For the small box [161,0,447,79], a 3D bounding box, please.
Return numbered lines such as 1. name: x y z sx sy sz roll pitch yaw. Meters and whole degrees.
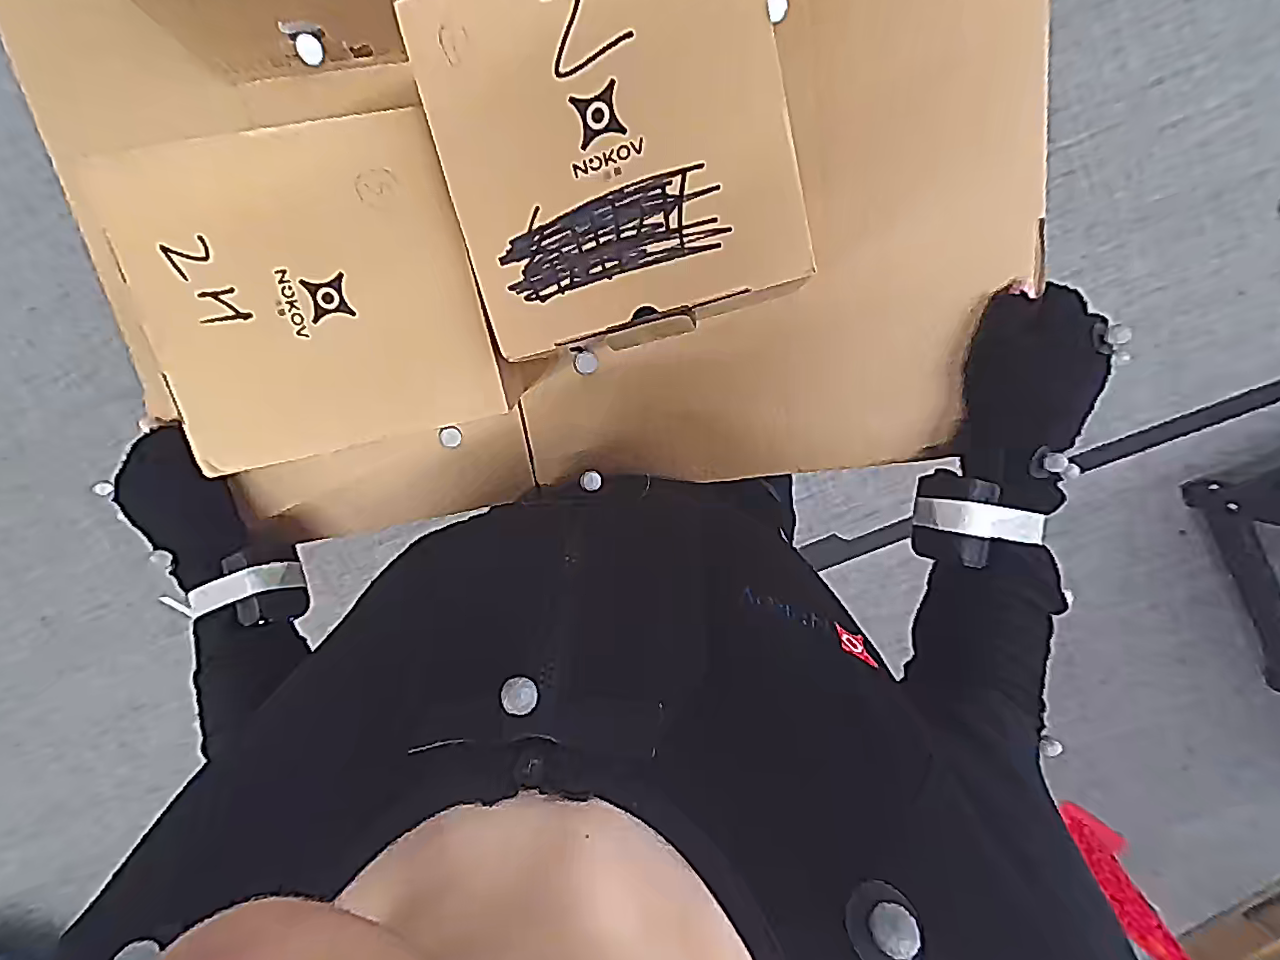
1. small box: -0.225 -0.375 0.308 0.168 0.176 0.179 -12 105 -6
